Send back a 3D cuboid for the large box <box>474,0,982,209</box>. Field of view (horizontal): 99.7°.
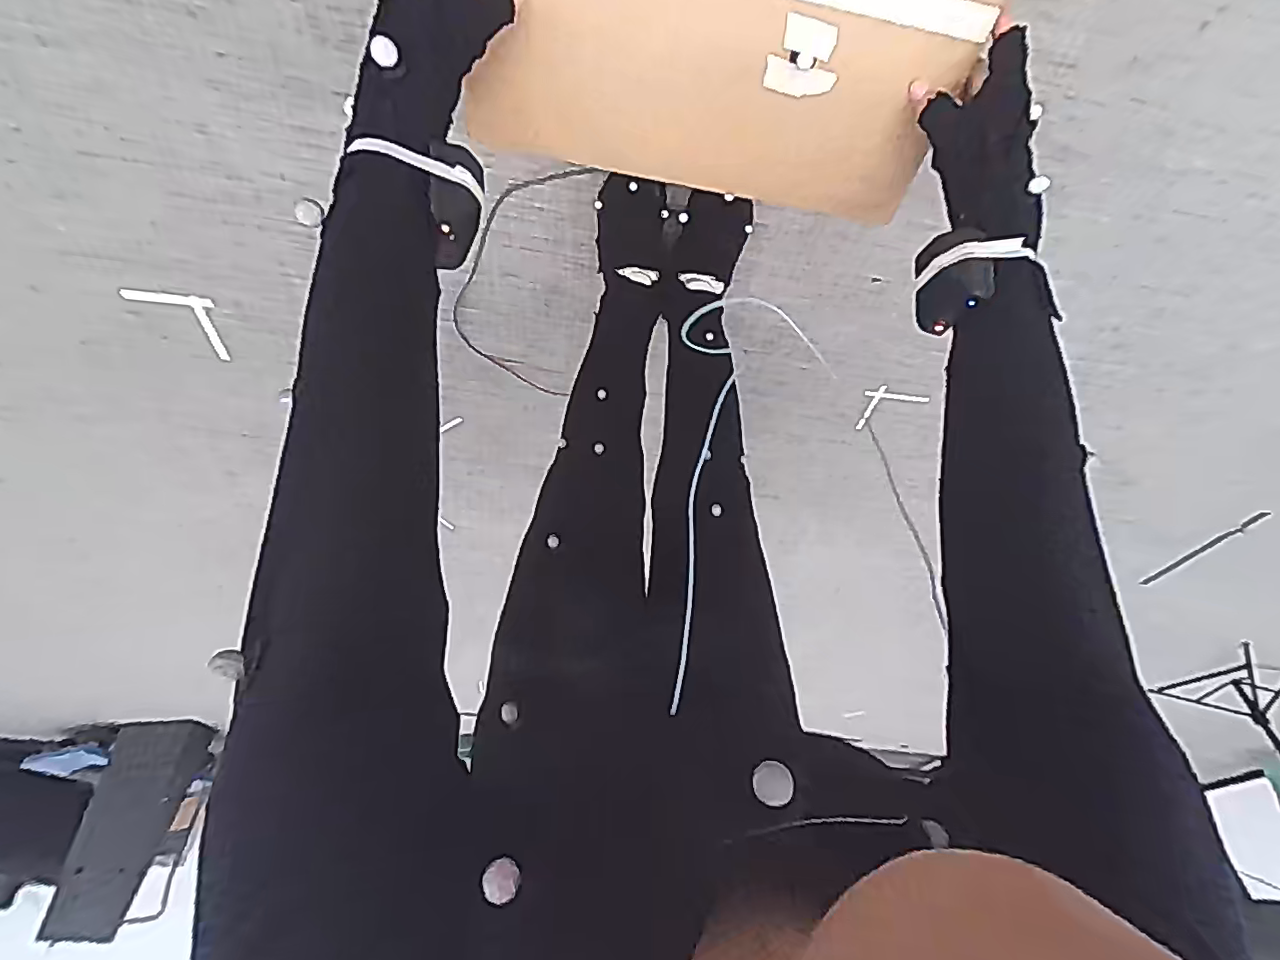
[{"bbox_3d":[0.070,-0.504,0.508,0.408,0.320,0.320,7,139,-8],"label":"large box"}]
